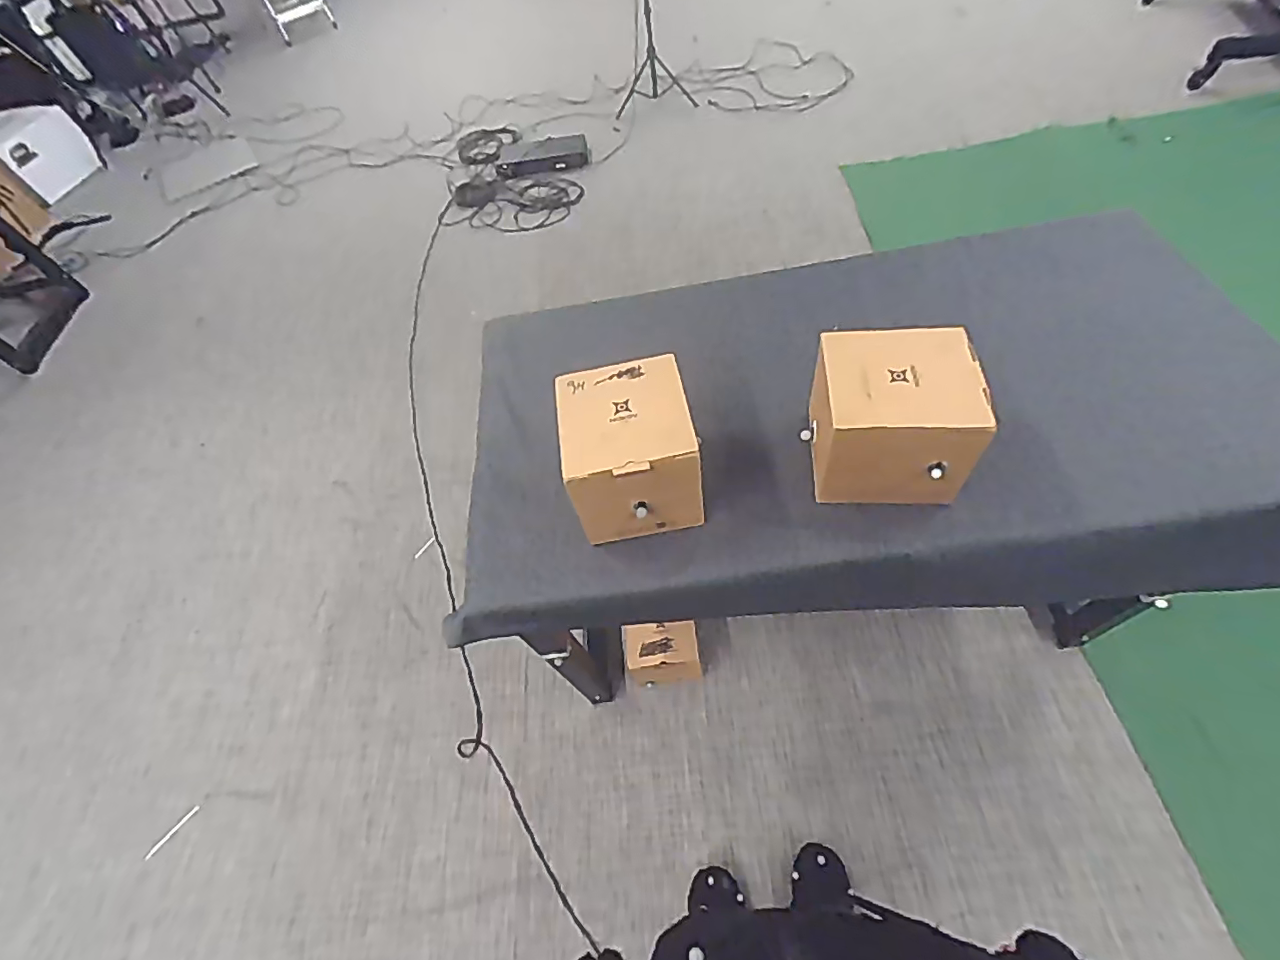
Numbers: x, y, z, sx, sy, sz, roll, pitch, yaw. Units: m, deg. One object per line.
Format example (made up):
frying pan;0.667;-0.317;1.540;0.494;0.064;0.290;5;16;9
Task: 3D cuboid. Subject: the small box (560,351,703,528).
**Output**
small box;-0.008;-0.047;0.750;0.168;0.176;0.179;-10;56;2

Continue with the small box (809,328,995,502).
small box;0.330;-0.081;0.722;0.179;0.176;0.168;0;57;10
